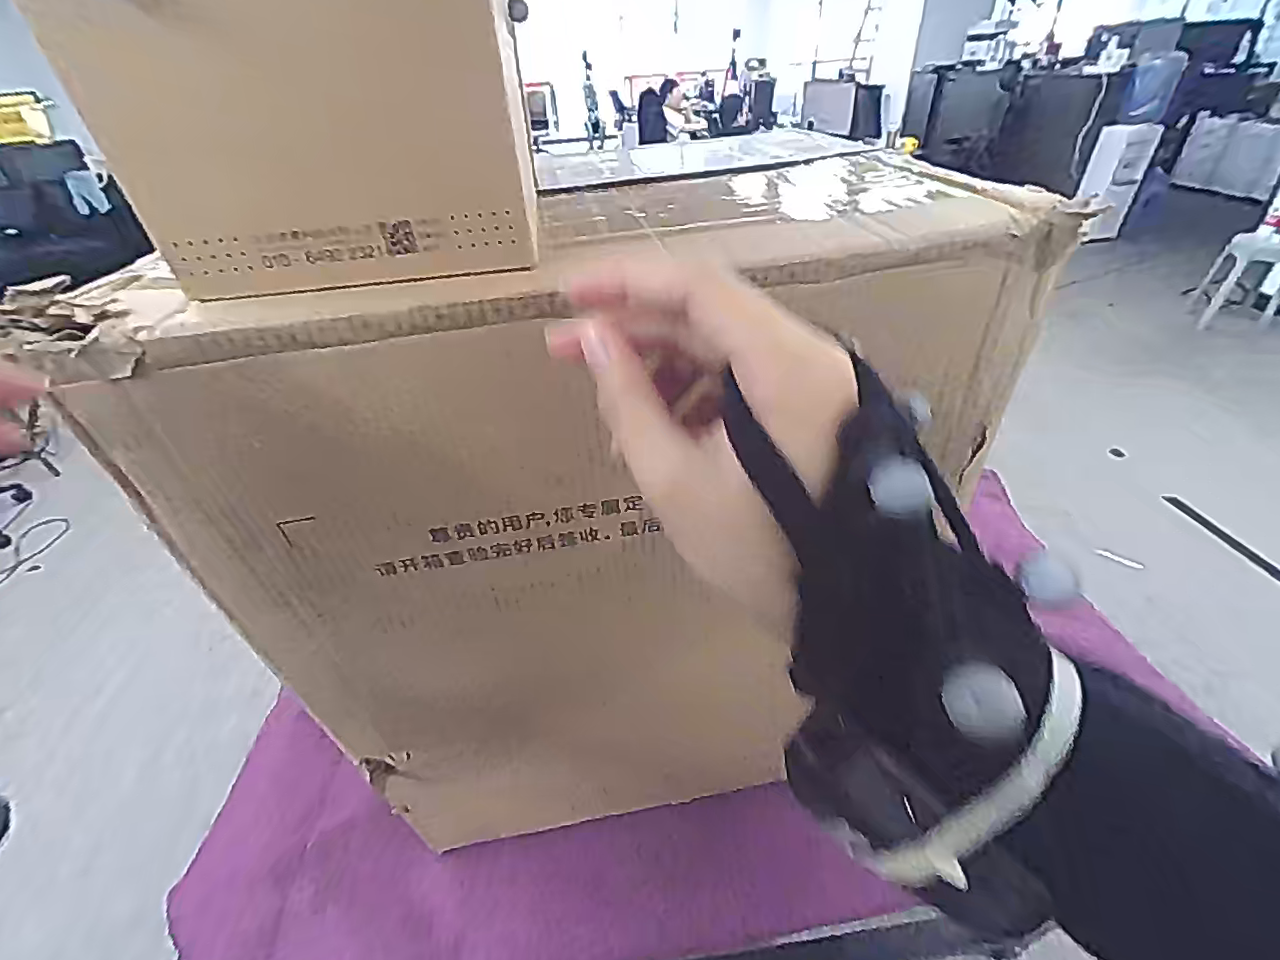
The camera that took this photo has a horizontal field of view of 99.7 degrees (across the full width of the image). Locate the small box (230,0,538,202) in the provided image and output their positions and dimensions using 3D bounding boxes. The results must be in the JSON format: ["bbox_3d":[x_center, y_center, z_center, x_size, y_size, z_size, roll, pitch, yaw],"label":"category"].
[{"bbox_3d":[-0.183,-0.322,0.415,0.179,0.176,0.168,-9,39,-8],"label":"small box"}]
